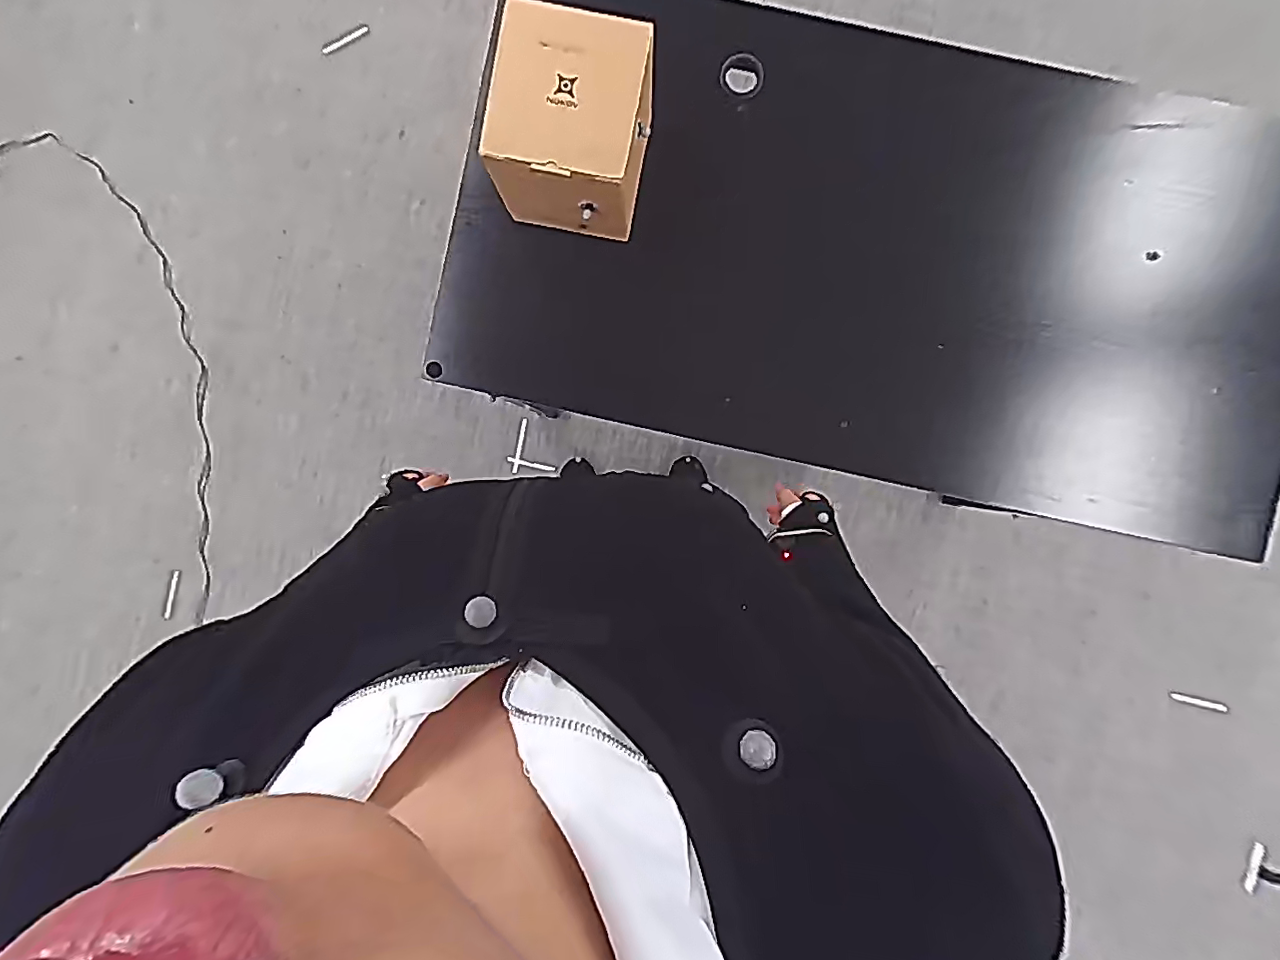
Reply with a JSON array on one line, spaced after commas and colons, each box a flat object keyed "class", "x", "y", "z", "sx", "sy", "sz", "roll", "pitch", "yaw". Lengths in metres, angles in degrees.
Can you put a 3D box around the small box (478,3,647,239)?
[{"class": "small box", "x": -0.087, "y": -0.430, "z": 0.681, "sx": 0.168, "sy": 0.176, "sz": 0.179, "roll": 11, "pitch": 91, "yaw": -1}]
